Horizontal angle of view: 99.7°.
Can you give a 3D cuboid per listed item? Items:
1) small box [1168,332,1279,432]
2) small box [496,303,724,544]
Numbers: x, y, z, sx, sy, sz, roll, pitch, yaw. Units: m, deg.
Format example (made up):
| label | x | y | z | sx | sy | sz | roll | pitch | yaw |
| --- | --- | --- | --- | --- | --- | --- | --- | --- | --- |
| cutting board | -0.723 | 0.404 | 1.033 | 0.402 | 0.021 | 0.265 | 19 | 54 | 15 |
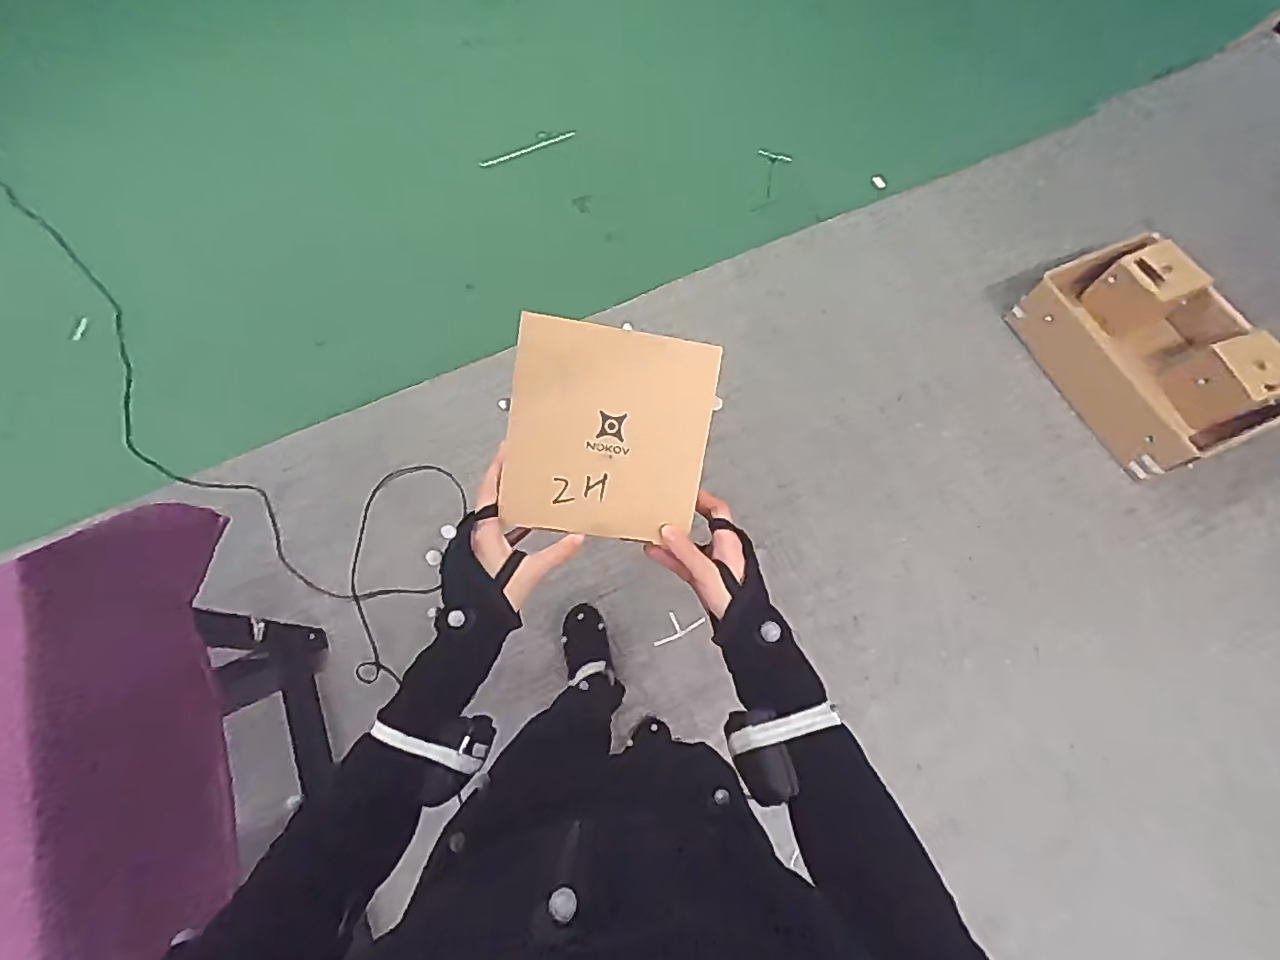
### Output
| label | x | y | z | sx | sy | sz | roll | pitch | yaw |
| --- | --- | --- | --- | --- | --- | --- | --- | --- | --- |
| small box | 1.568 | -0.252 | 1.418 | 0.168 | 0.176 | 0.179 | -14 | 68 | -2 |
| small box | -0.032 | -0.055 | 0.523 | 0.168 | 0.176 | 0.179 | 10 | 99 | -5 |
